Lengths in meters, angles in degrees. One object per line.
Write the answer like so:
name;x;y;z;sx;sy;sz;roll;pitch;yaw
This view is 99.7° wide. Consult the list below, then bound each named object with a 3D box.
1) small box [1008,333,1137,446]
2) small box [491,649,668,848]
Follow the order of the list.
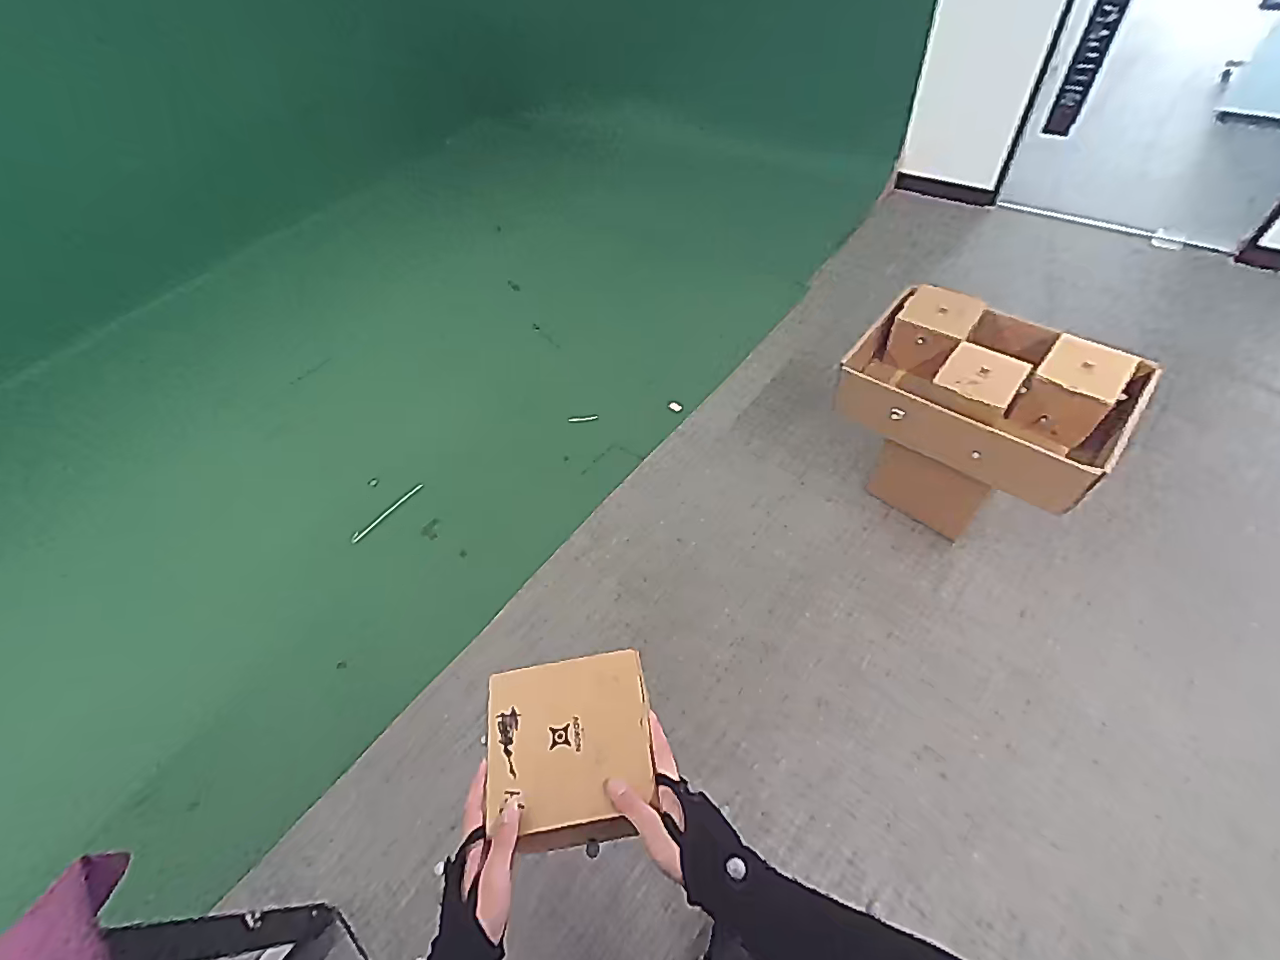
small box;1.047;-0.219;1.325;0.168;0.176;0.179;34;68;28
small box;-0.065;0.319;0.638;0.179;0.176;0.168;-8;51;-2
